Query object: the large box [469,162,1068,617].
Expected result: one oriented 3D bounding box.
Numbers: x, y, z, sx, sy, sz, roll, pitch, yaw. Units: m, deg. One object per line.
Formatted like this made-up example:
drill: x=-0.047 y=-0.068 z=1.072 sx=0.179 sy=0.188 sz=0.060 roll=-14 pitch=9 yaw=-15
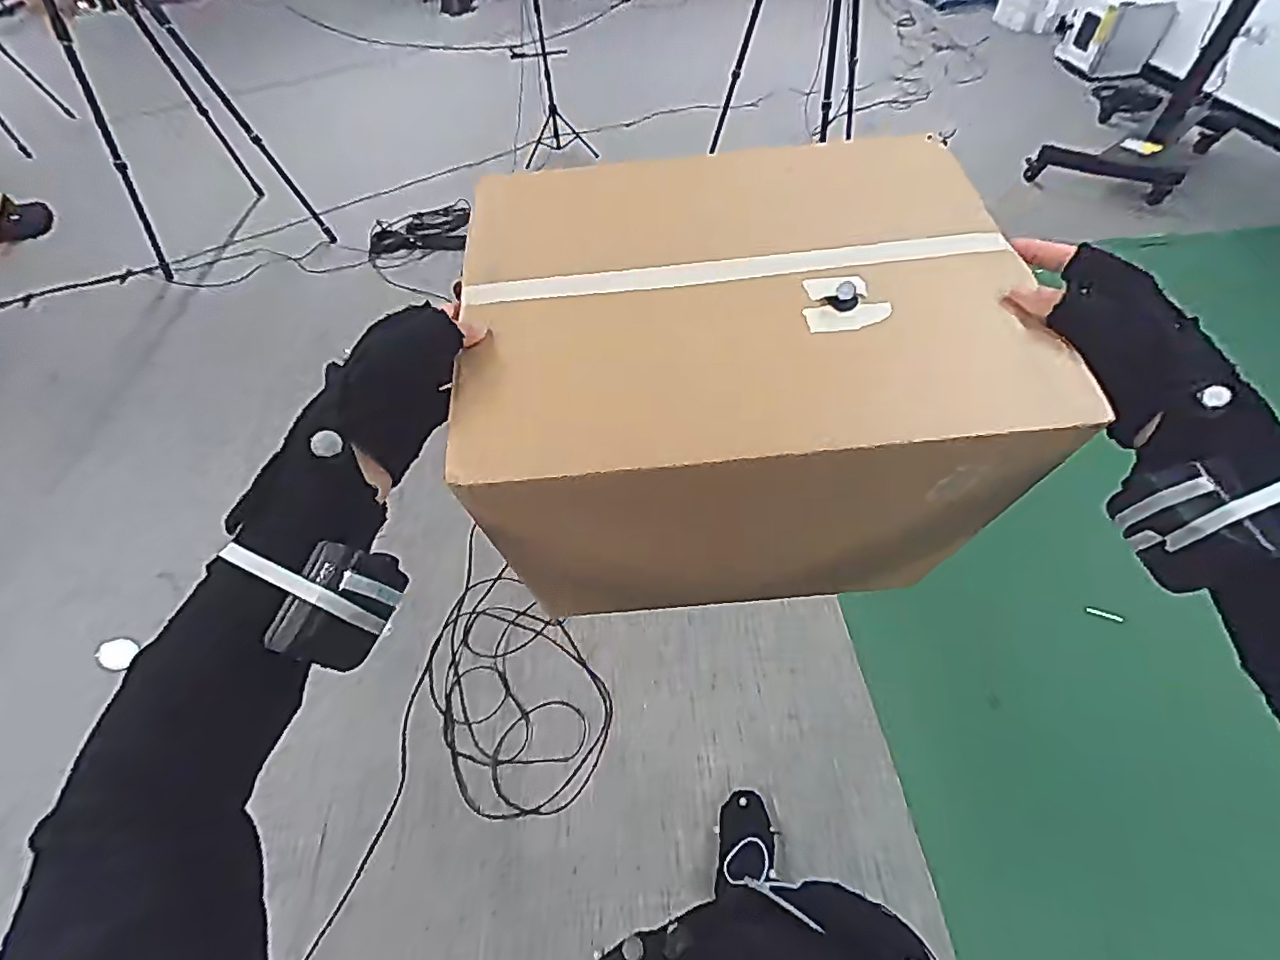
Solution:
large box: x=0.076 y=-0.070 z=0.552 sx=0.408 sy=0.320 sz=0.320 roll=-5 pitch=60 yaw=0
